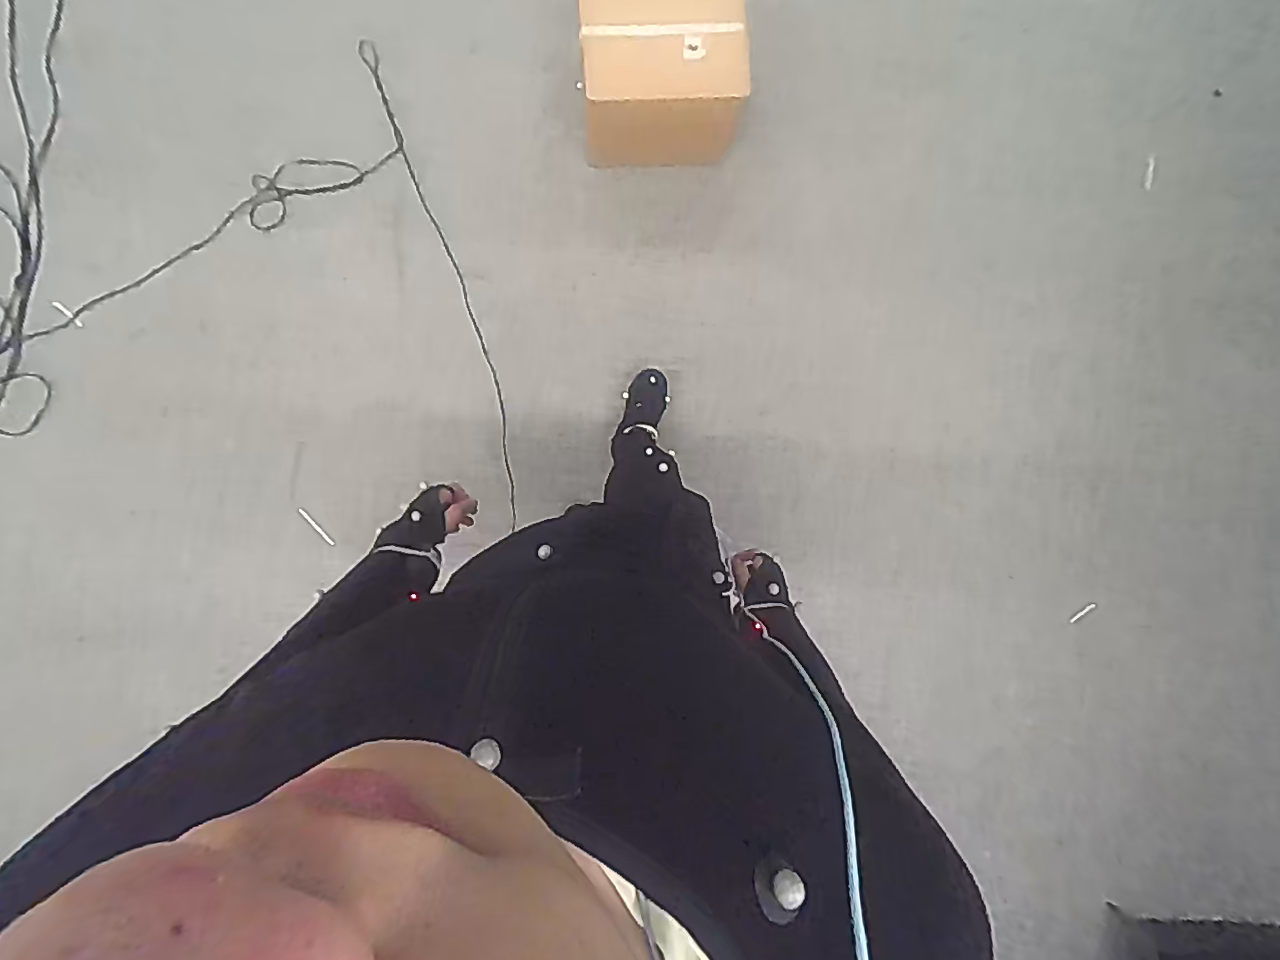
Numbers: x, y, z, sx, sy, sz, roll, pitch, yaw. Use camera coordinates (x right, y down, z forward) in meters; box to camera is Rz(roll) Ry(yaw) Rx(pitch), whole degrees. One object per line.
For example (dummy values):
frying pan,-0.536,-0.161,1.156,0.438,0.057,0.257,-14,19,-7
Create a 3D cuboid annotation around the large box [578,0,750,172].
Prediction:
large box,0.049,-1.070,1.457,0.408,0.320,0.320,-4,92,-4
